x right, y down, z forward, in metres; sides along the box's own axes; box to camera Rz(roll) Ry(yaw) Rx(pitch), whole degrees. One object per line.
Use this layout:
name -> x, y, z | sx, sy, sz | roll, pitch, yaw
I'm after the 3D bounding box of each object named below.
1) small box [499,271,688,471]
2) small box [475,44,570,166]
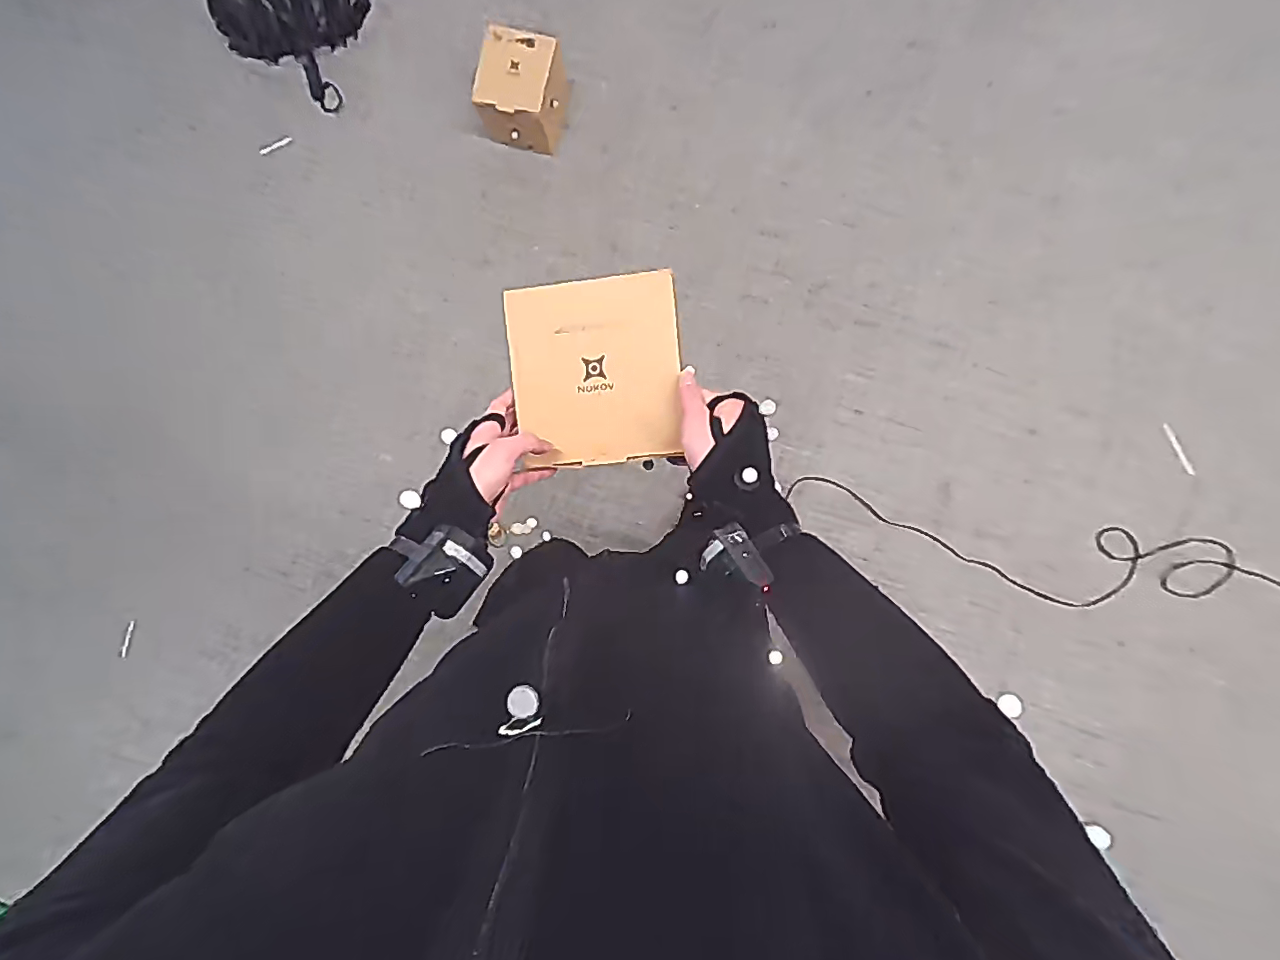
small box -> -0.038, -0.109, 0.599 | 0.168, 0.176, 0.179 | -6, 93, 7
small box -> -0.280, -0.911, 1.329 | 0.168, 0.176, 0.179 | 14, 93, 4
